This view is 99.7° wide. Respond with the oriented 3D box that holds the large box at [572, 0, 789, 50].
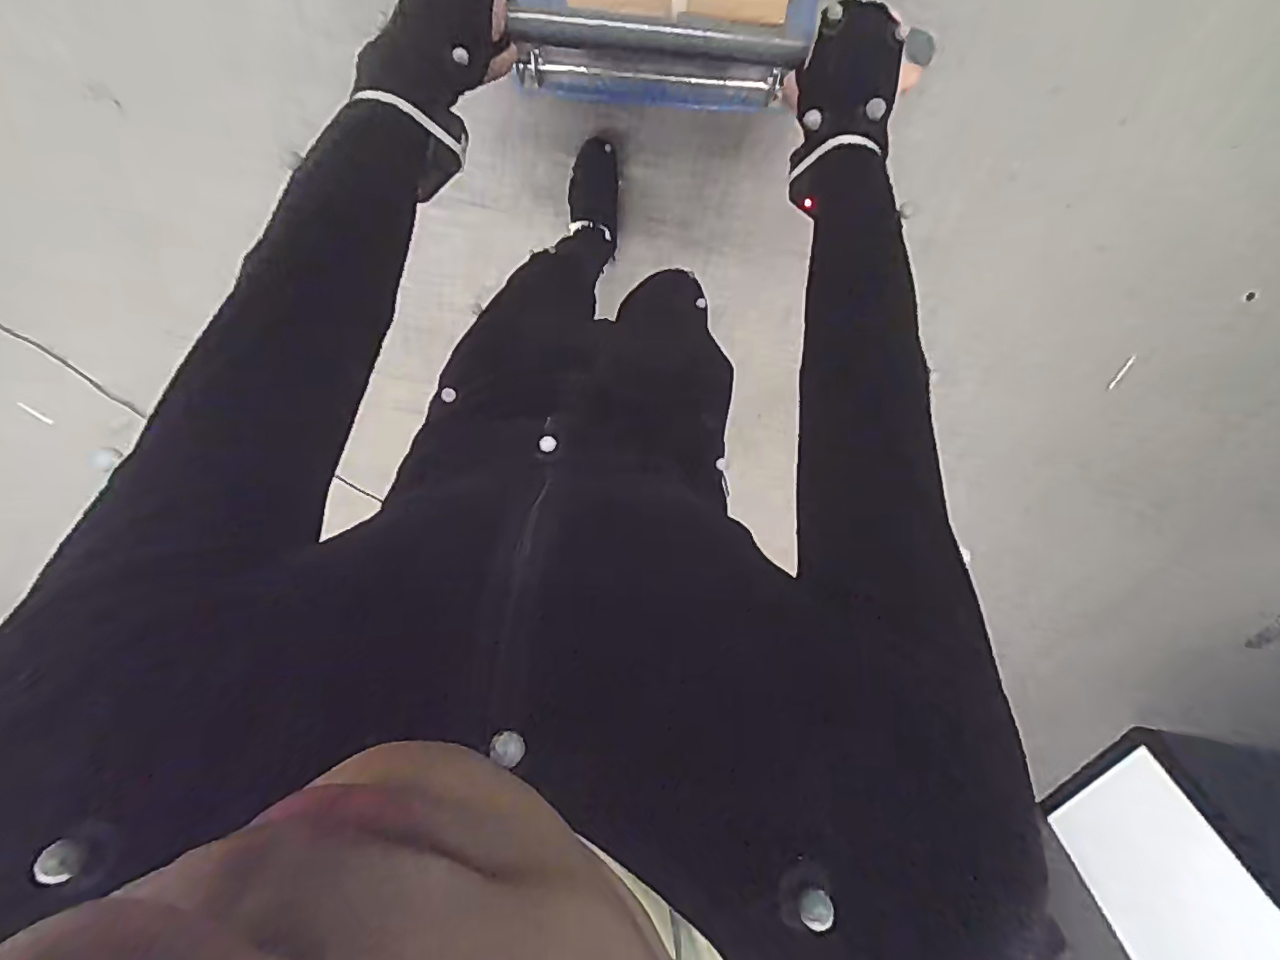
[{"bbox_3d":[0.066,-0.907,0.794,0.320,0.320,0.408,3,124,-2],"label":"large box"}]
